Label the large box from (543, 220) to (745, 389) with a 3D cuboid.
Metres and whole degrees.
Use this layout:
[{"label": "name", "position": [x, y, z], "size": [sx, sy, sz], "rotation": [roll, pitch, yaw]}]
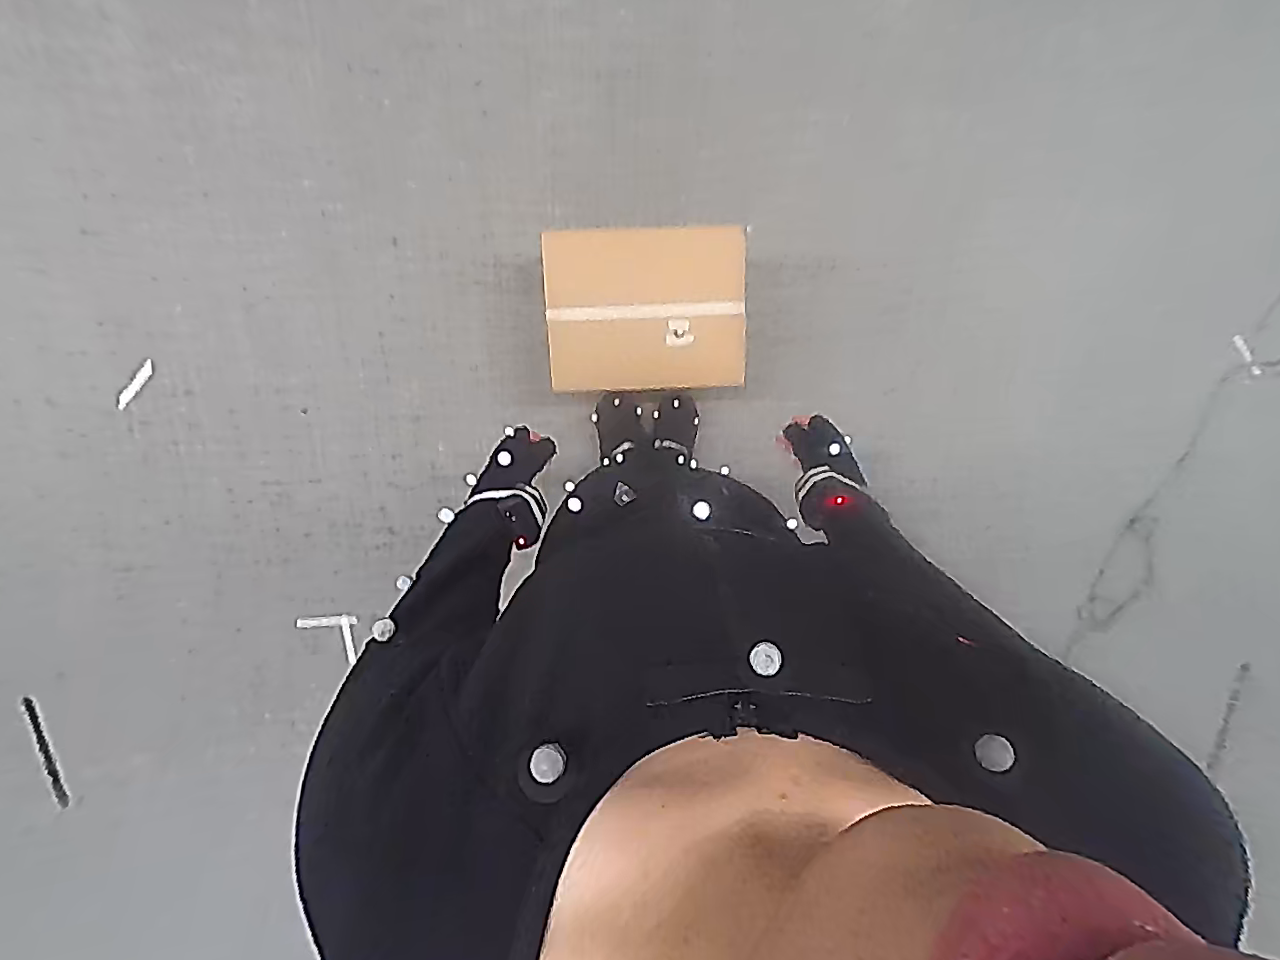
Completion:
[{"label": "large box", "position": [0.009, -0.387, 1.241], "size": [0.408, 0.320, 0.320], "rotation": [-3, 105, -1]}]
